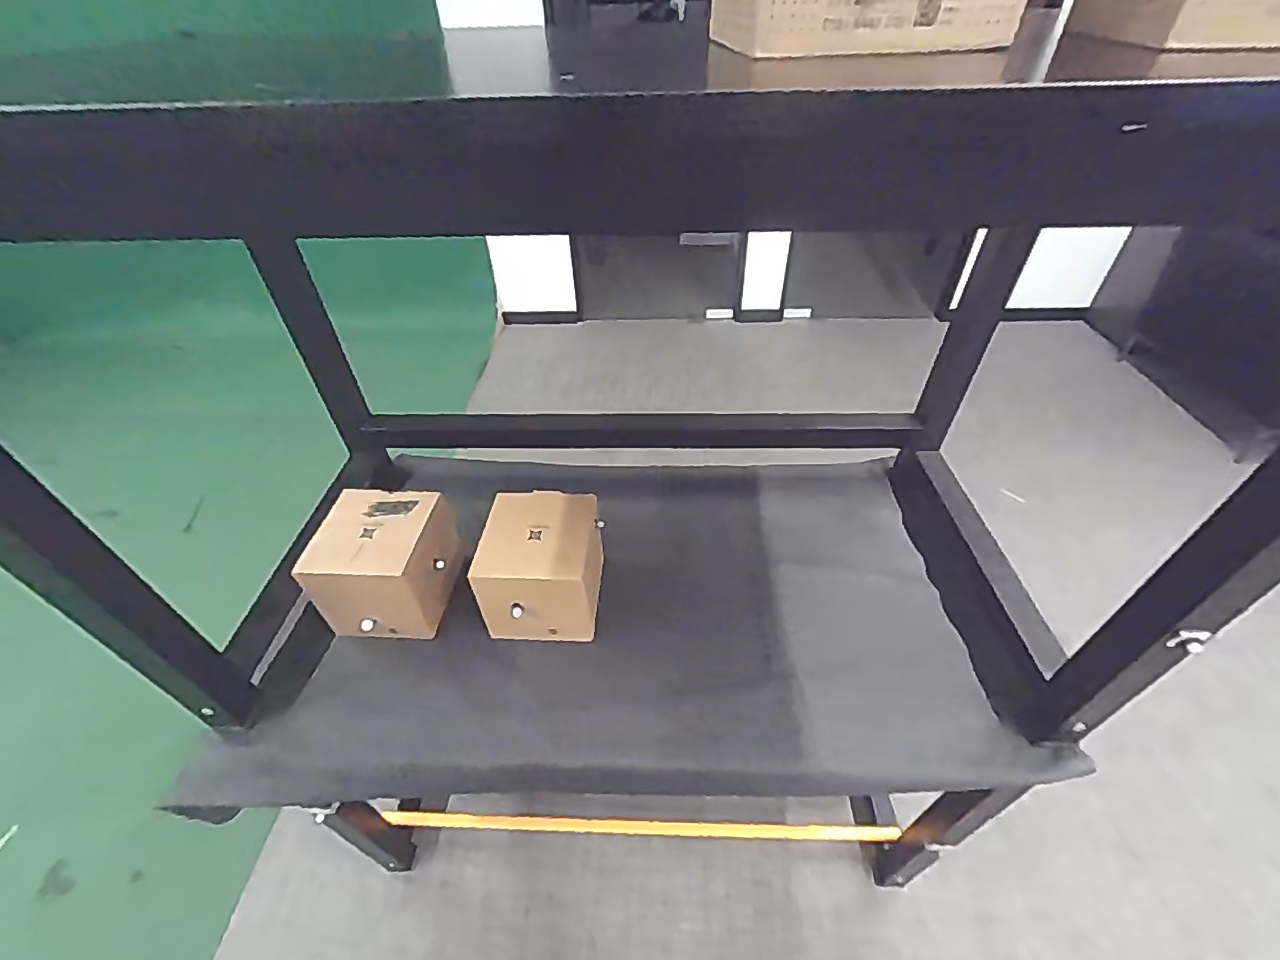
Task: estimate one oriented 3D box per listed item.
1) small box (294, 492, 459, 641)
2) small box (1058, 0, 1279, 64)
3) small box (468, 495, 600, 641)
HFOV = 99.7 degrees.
[{"bbox_3d":[-0.411,0.140,0.885,0.168,0.176,0.179,1,43,3],"label":"small box"},{"bbox_3d":[0.388,-0.346,0.306,0.168,0.176,0.179,8,43,10],"label":"small box"},{"bbox_3d":[-0.158,0.144,0.877,0.168,0.176,0.179,1,42,3],"label":"small box"}]
